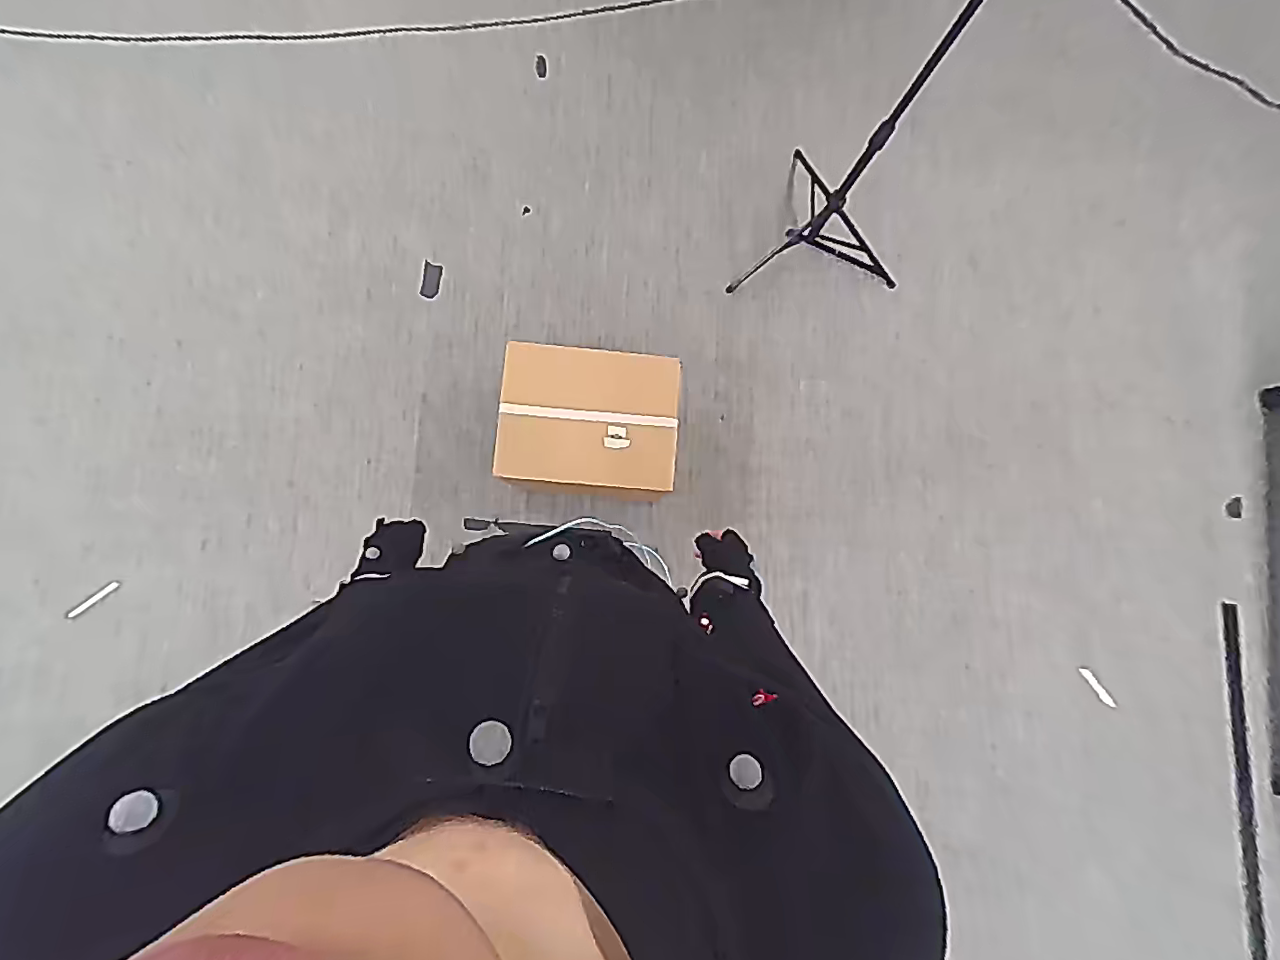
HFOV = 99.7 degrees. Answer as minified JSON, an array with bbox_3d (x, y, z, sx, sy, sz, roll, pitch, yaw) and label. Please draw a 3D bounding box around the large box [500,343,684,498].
[{"bbox_3d":[-0.118,-0.131,1.379,0.408,0.320,0.320,5,84,-4],"label":"large box"}]
